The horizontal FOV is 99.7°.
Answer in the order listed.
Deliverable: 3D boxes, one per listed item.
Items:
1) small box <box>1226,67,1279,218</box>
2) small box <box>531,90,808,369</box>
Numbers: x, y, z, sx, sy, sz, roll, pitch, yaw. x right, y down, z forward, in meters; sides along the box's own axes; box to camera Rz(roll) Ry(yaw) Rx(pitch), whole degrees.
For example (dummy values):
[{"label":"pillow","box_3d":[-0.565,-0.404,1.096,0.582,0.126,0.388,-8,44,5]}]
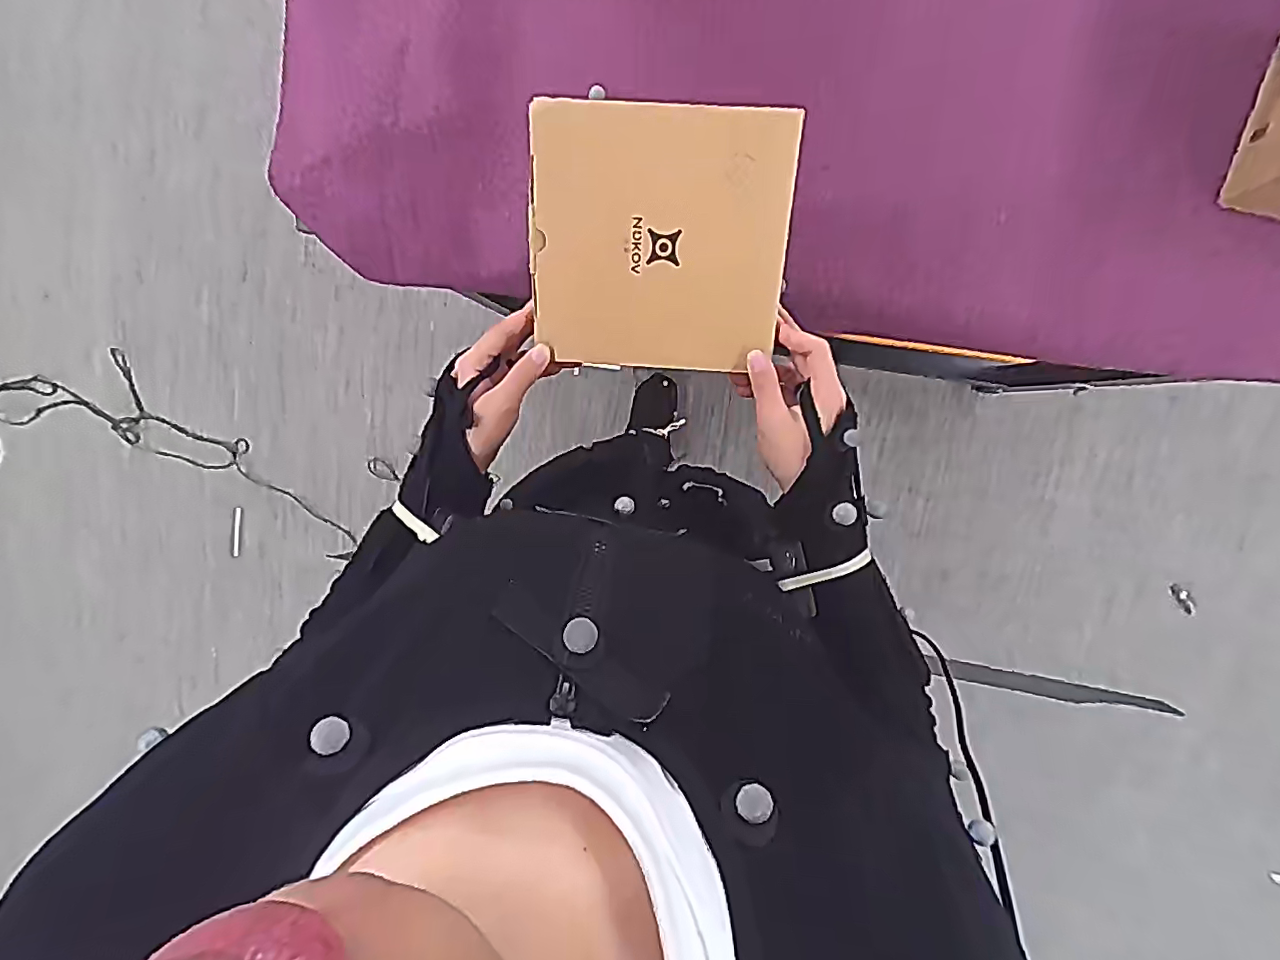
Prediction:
[{"label":"small box","box_3d":[0.675,-0.322,0.450,0.179,0.176,0.168,15,97,2]},{"label":"small box","box_3d":[0.019,-0.190,0.438,0.179,0.176,0.168,4,111,3]}]
